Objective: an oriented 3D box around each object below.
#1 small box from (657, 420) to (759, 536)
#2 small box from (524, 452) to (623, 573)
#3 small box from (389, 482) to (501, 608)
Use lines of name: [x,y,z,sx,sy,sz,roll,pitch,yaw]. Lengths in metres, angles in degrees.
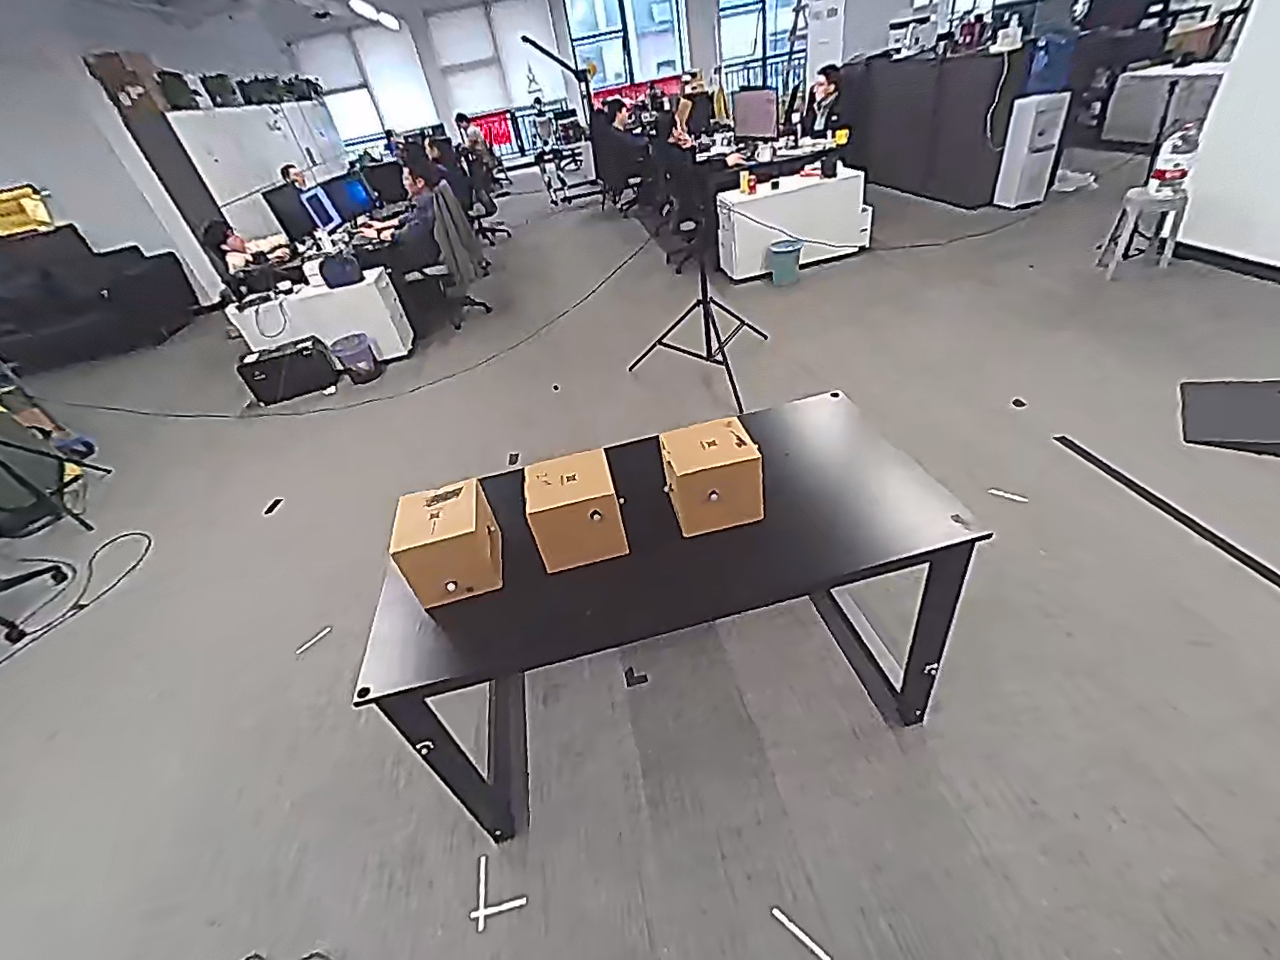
small box: [0.147,-0.001,1.161,0.179,0.176,0.168,-14,37,-1]
small box: [-0.138,0.069,1.143,0.179,0.176,0.168,-14,37,-4]
small box: [-0.396,0.134,1.126,0.168,0.176,0.179,-15,38,-5]
